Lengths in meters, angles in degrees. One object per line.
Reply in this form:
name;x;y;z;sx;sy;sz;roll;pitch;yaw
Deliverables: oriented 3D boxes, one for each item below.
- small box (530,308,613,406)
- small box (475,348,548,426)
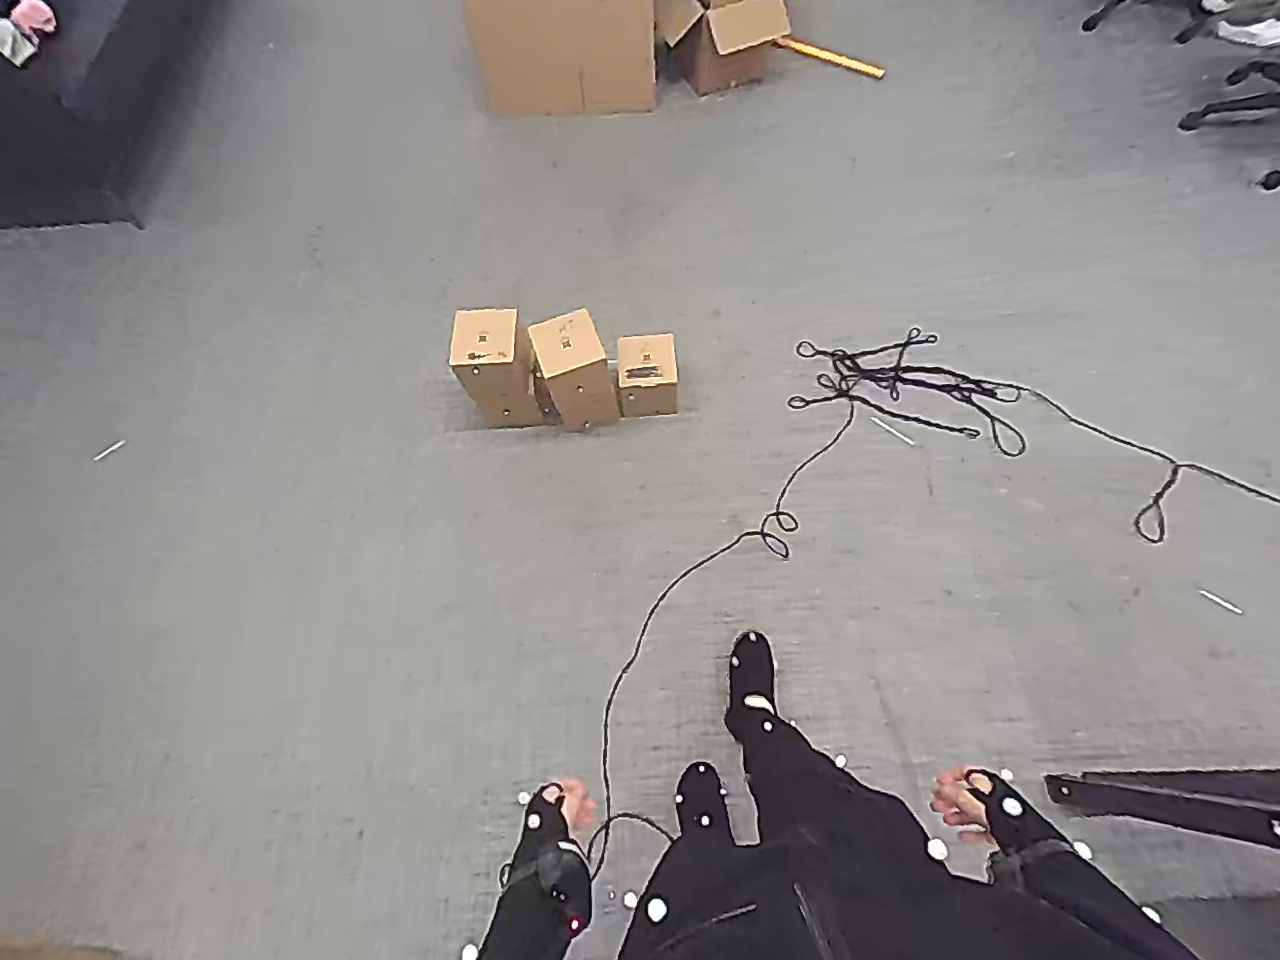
small box;-0.178;-0.320;1.452;0.168;0.176;0.179;-19;66;-5
small box;-0.378;-0.274;1.622;0.179;0.176;0.168;-4;65;2
